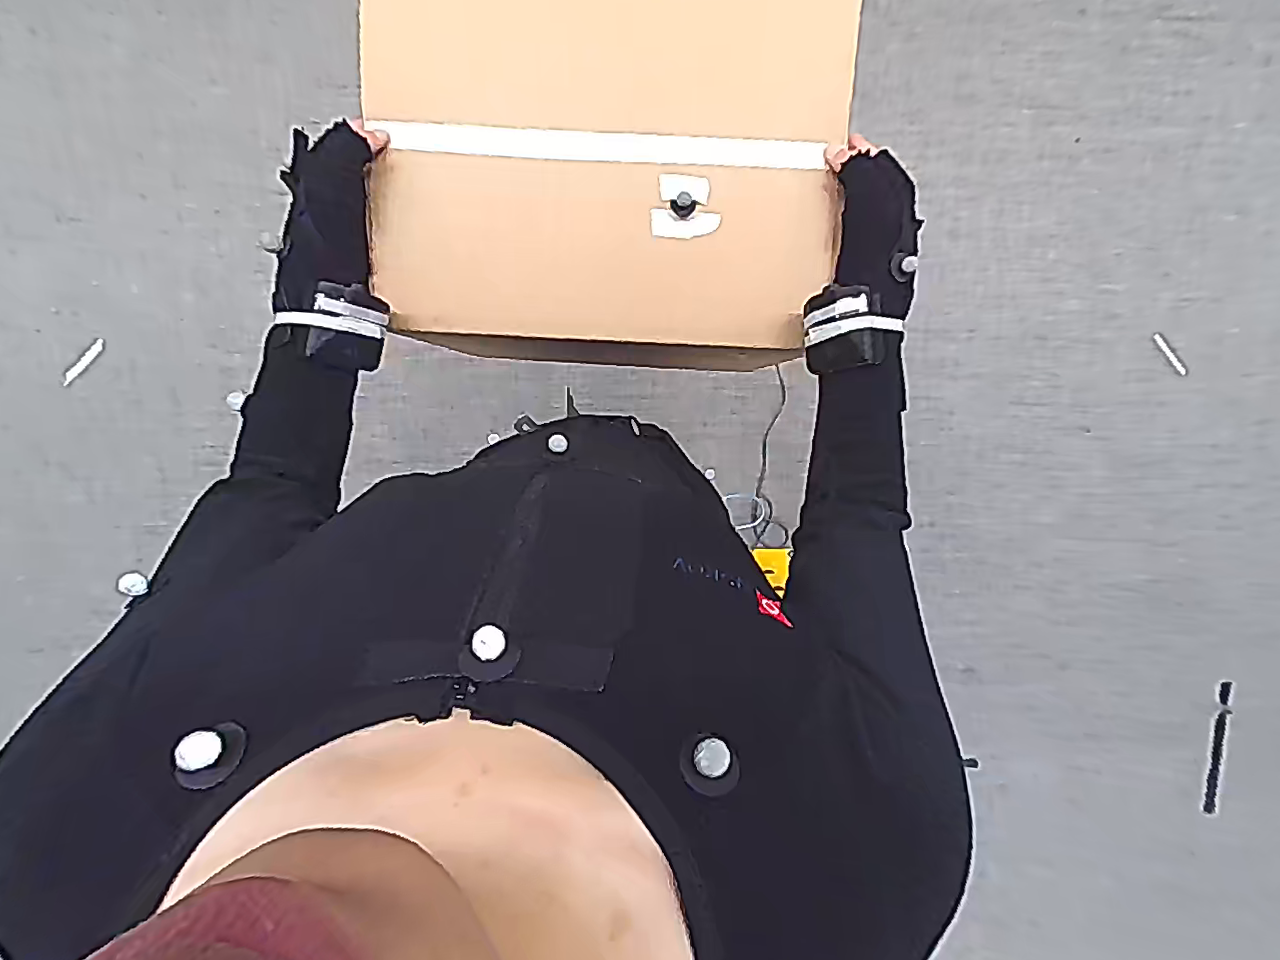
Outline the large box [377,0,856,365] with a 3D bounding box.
[{"bbox_3d":[-0.026,-0.302,0.608,0.408,0.320,0.320,2,98,-2],"label":"large box"}]
